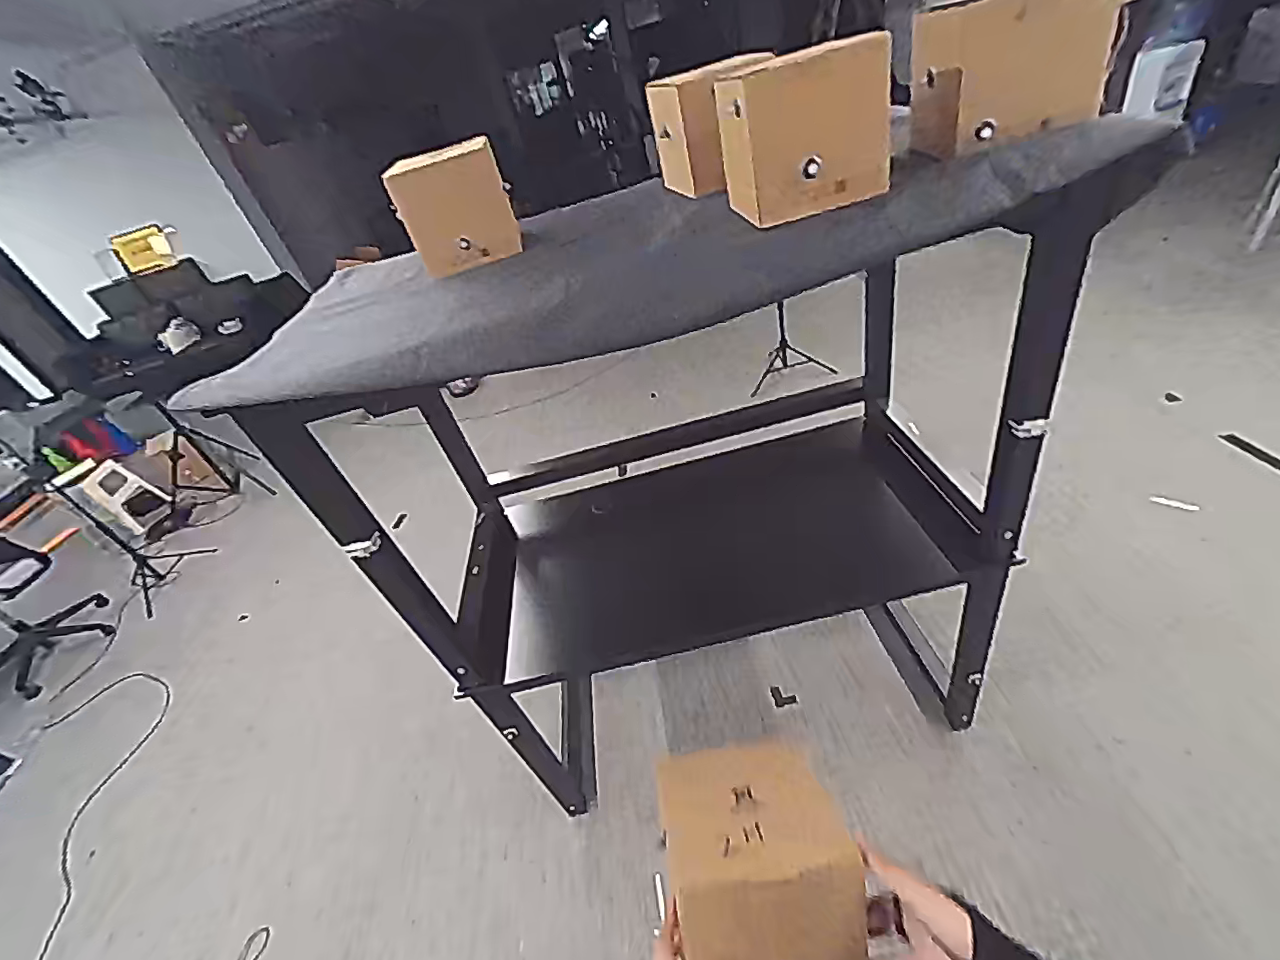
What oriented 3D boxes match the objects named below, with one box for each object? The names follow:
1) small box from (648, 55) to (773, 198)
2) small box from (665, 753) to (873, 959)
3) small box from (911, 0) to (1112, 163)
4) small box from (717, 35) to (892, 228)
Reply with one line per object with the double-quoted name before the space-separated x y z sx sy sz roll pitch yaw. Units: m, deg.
"small box" 0.128 -0.611 0.946 0.168 0.176 0.179 -21 37 -4
"small box" 0.121 0.419 0.557 0.168 0.176 0.179 -7 8 -4
"small box" 0.470 -0.533 0.706 0.168 0.176 0.179 -10 36 11
"small box" 0.207 -0.447 0.707 0.168 0.176 0.179 -15 36 4
